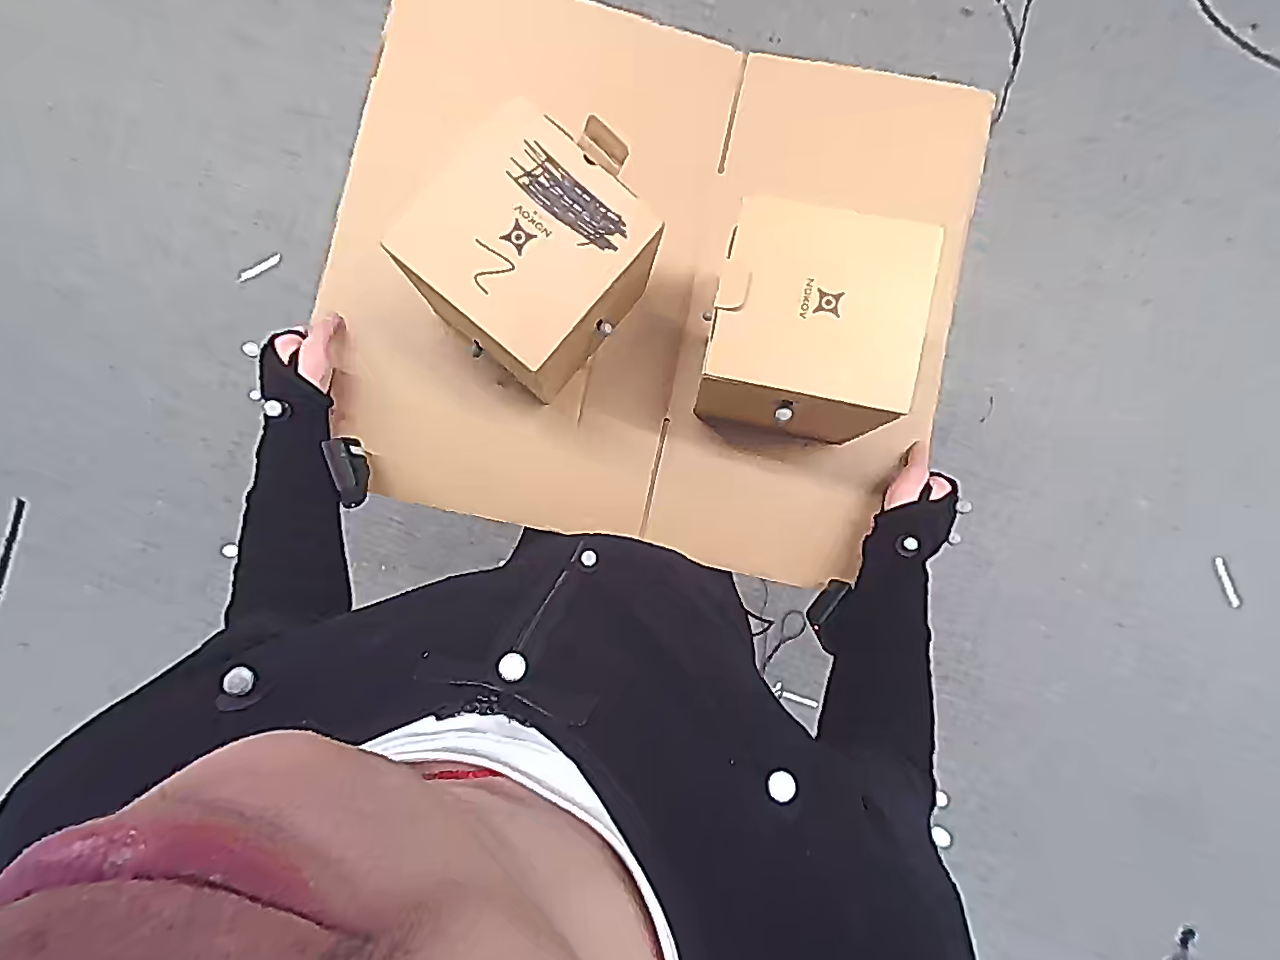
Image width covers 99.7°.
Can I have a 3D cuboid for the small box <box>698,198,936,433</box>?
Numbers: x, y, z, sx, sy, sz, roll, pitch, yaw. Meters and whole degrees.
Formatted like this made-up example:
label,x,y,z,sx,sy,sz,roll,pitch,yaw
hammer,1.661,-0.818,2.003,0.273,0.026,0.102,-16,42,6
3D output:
label,x,y,z,sx,sy,sz,roll,pitch,yaw
small box,0.162,-0.150,0.552,0.179,0.176,0.168,12,87,5
